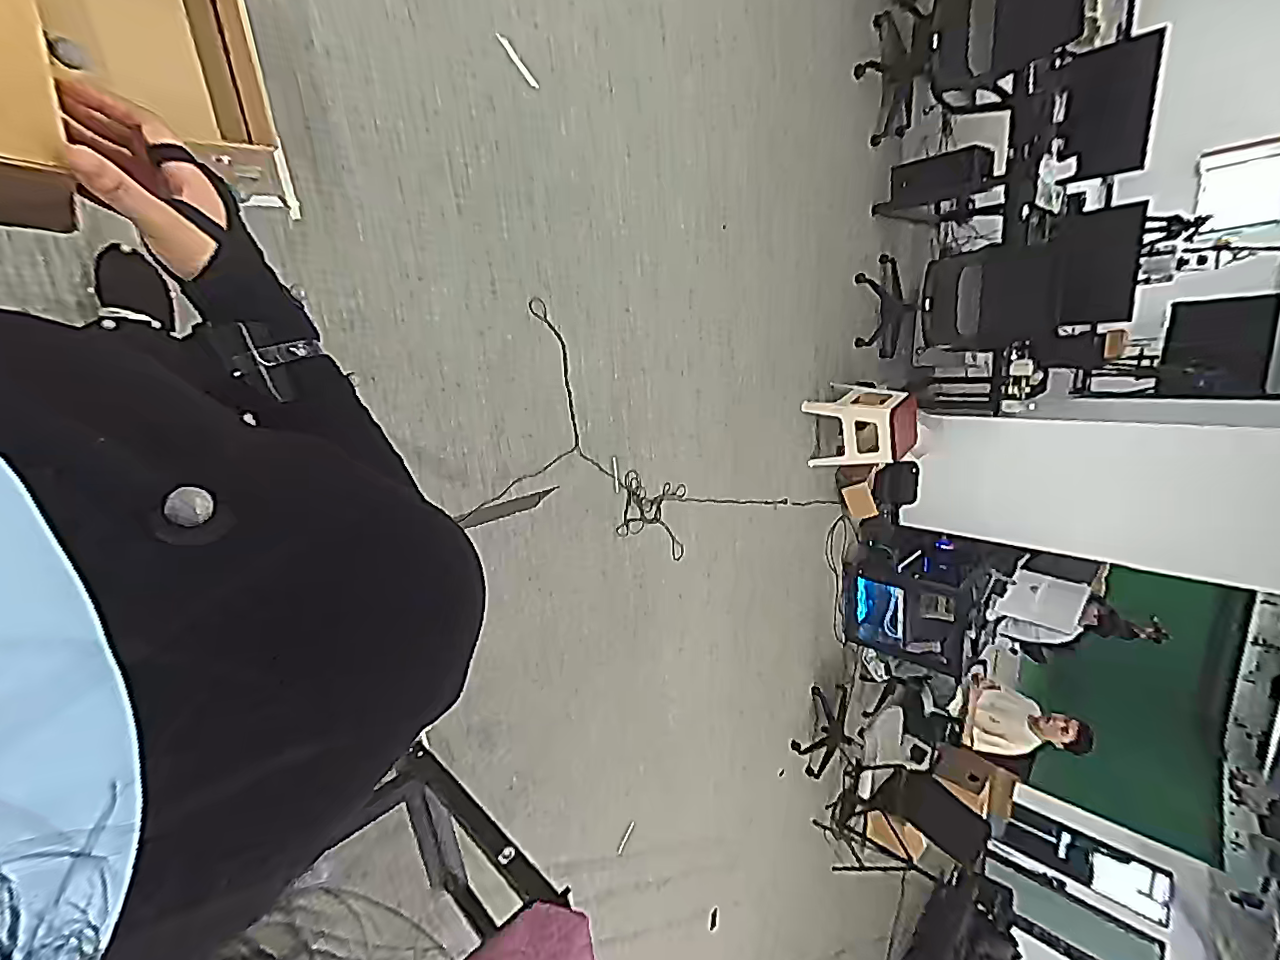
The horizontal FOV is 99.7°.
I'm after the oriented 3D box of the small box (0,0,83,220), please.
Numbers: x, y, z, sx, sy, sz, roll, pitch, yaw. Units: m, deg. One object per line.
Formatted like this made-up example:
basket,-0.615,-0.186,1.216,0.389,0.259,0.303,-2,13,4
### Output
small box,-0.438,-0.263,0.292,0.168,0.176,0.179,-13,106,-45
